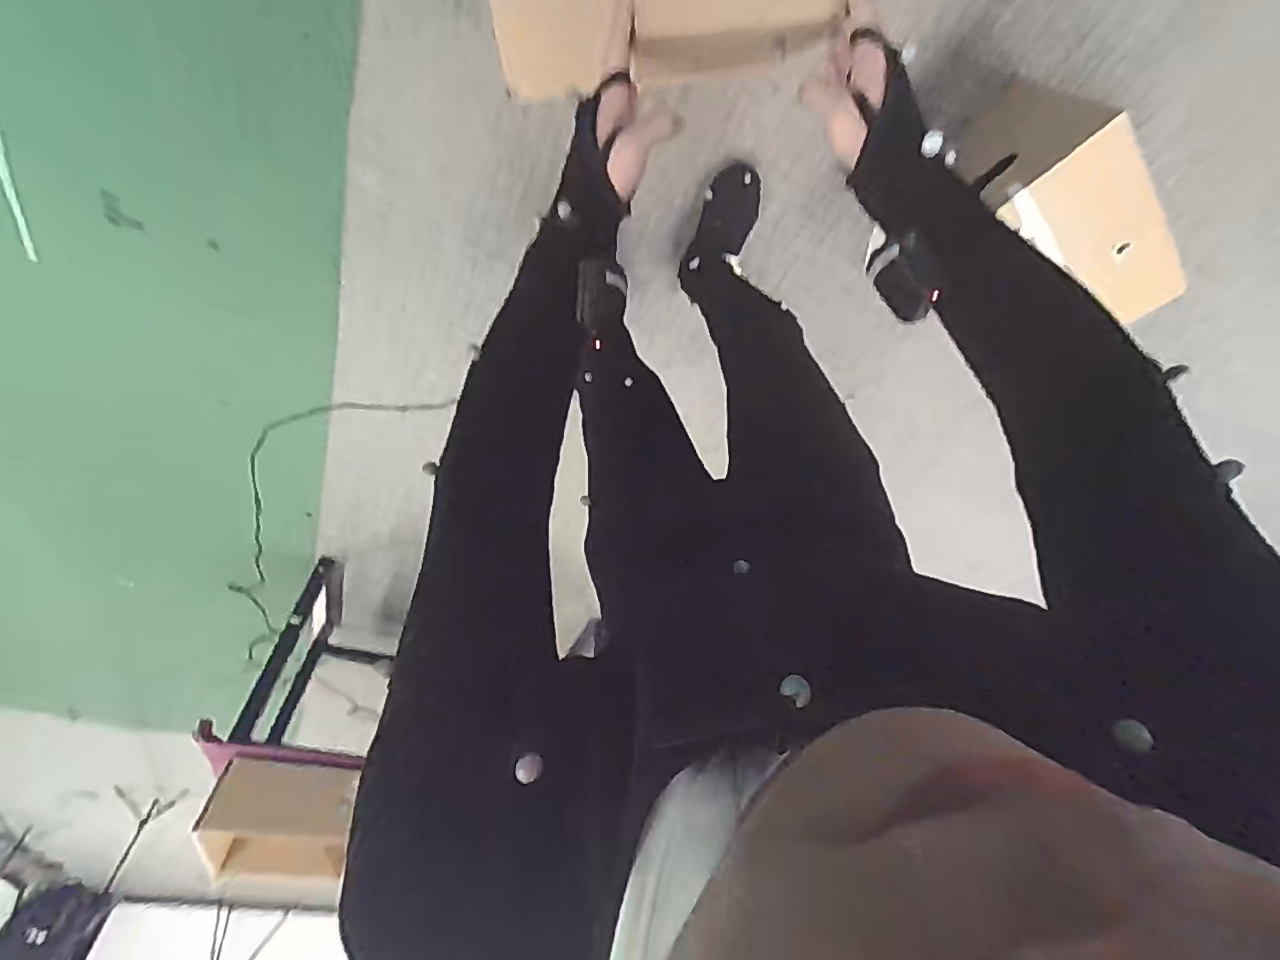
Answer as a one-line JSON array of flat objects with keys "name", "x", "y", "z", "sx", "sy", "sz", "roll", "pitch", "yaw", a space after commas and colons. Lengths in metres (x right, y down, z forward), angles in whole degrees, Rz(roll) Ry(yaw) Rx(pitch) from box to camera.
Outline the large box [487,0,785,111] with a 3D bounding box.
[{"name": "large box", "x": -0.011, "y": -0.782, "z": 0.792, "sx": 0.408, "sy": 0.320, "sz": 0.320, "roll": -4, "pitch": 134, "yaw": 5}]
